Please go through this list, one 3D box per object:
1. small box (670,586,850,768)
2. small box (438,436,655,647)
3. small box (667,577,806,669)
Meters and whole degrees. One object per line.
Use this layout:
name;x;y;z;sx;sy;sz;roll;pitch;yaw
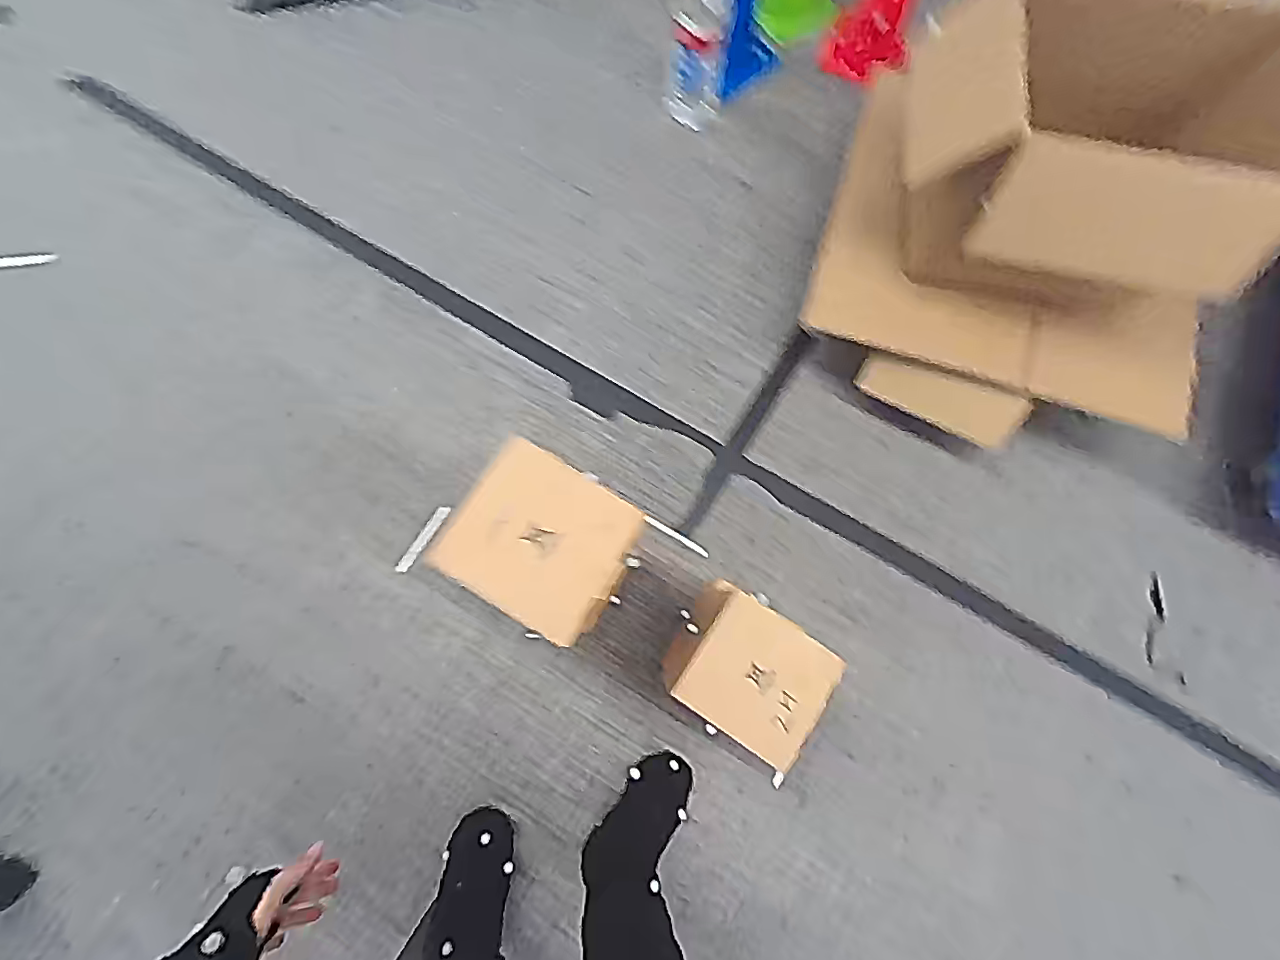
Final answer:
small box;0.159;0.272;0.786;0.179;0.176;0.168;34;80;4
small box;-0.101;0.078;0.652;0.179;0.176;0.168;31;77;5
small box;0.158;0.289;0.951;0.168;0.176;0.179;32;78;4
